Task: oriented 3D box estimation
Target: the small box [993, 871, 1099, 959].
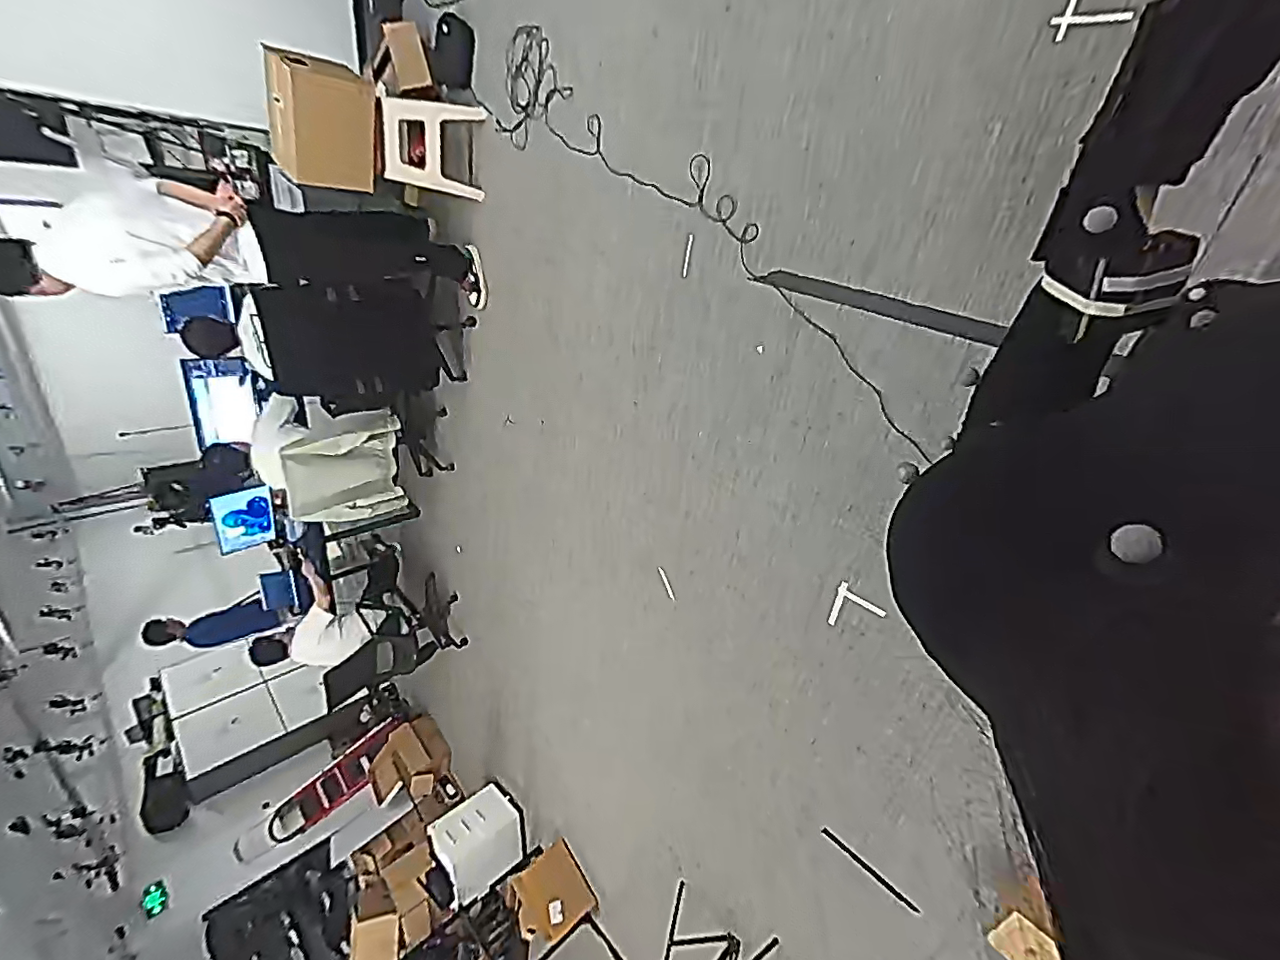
[{"bbox_3d":[1.108,1.226,1.470,0.168,0.176,0.179,33,125,33],"label":"small box"}]
